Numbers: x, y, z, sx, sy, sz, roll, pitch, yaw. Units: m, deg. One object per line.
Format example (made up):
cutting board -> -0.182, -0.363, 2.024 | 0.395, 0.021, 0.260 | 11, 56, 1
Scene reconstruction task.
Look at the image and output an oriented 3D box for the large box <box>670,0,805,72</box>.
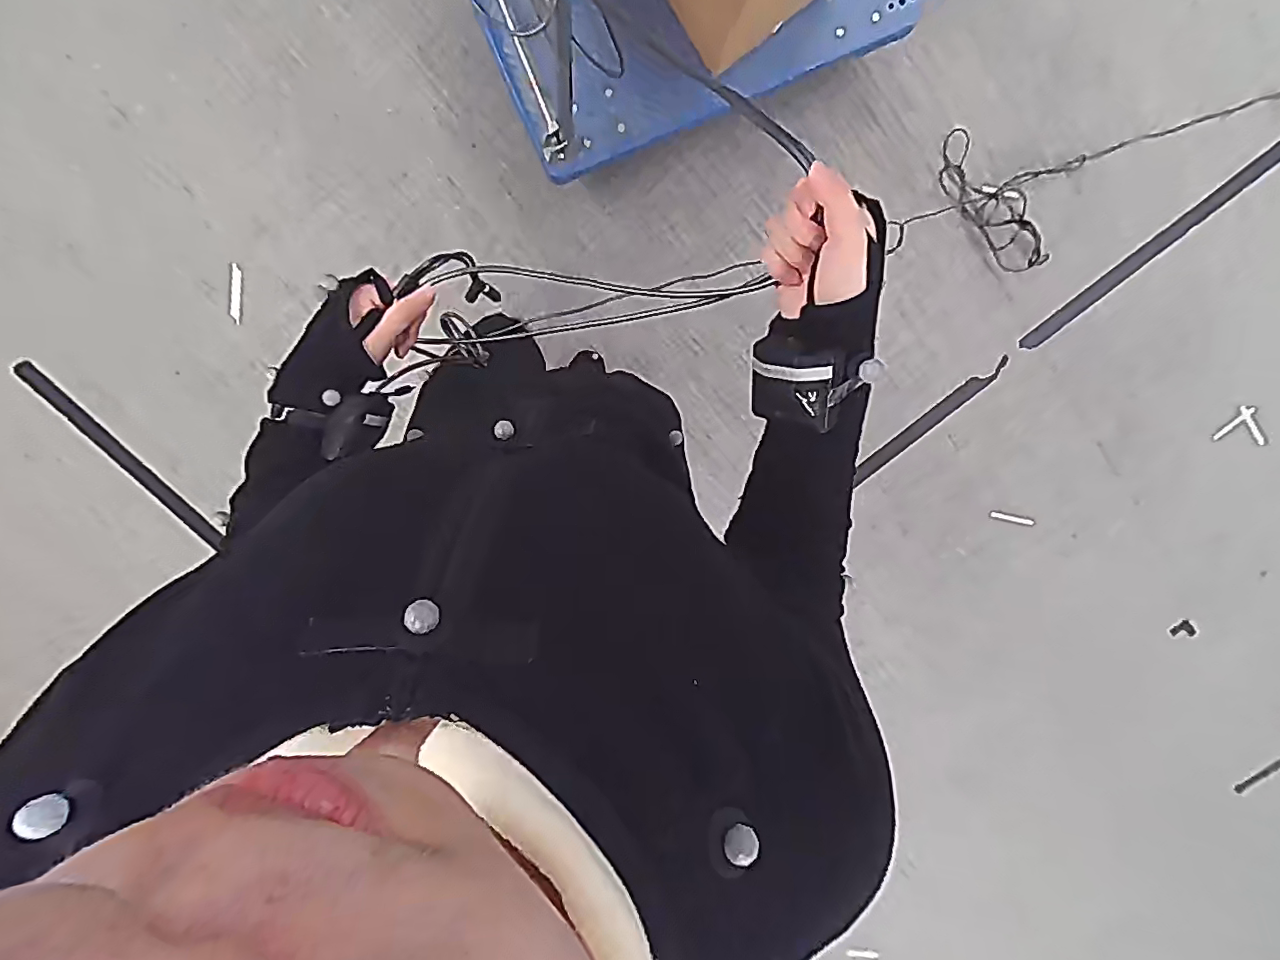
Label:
large box -> 0.169, -1.051, 0.928 | 0.320, 0.320, 0.408 | -37, 104, 6
